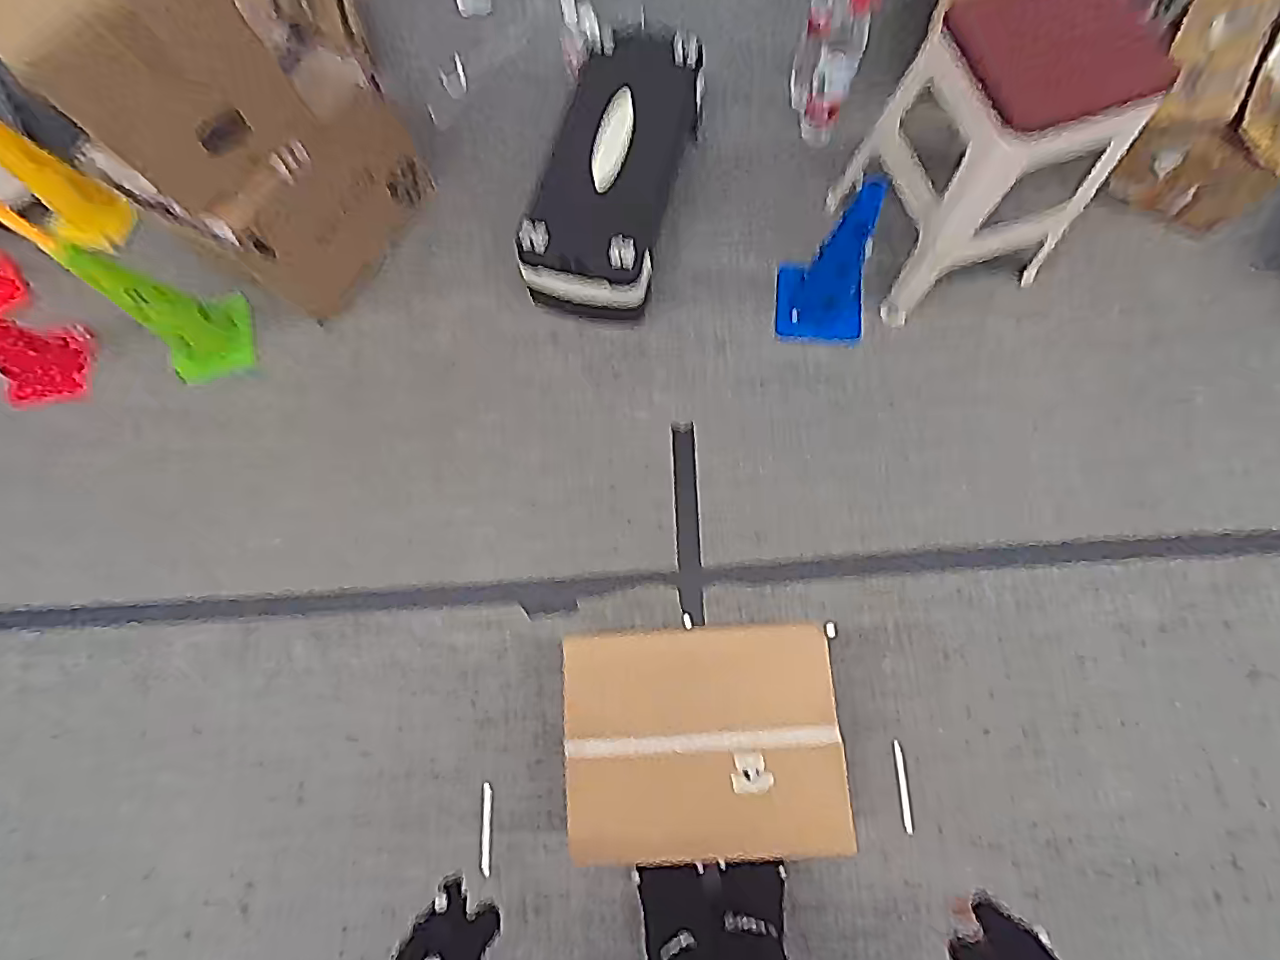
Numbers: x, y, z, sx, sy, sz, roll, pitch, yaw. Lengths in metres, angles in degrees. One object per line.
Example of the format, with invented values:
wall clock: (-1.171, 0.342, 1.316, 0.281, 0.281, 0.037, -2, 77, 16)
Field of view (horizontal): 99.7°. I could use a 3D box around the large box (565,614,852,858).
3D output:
large box: (0.095, 0.408, 0.941, 0.408, 0.320, 0.320, -4, 76, 1)
